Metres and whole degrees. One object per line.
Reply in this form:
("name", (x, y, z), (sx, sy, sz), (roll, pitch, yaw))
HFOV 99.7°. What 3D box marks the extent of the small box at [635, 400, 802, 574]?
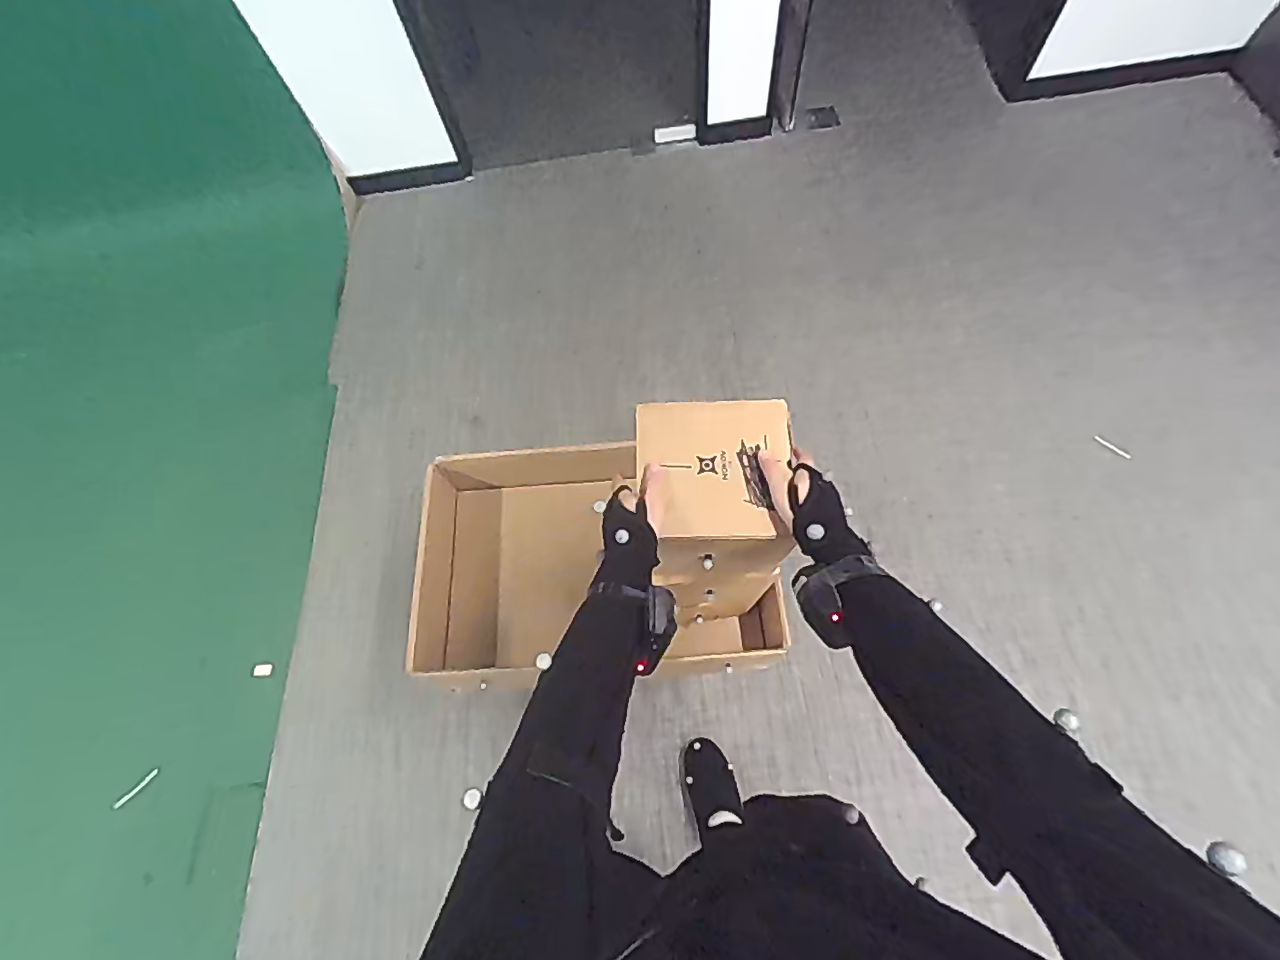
("small box", (0.085, 0.015, 0.663), (0.179, 0.176, 0.168), (-1, 67, 3))
